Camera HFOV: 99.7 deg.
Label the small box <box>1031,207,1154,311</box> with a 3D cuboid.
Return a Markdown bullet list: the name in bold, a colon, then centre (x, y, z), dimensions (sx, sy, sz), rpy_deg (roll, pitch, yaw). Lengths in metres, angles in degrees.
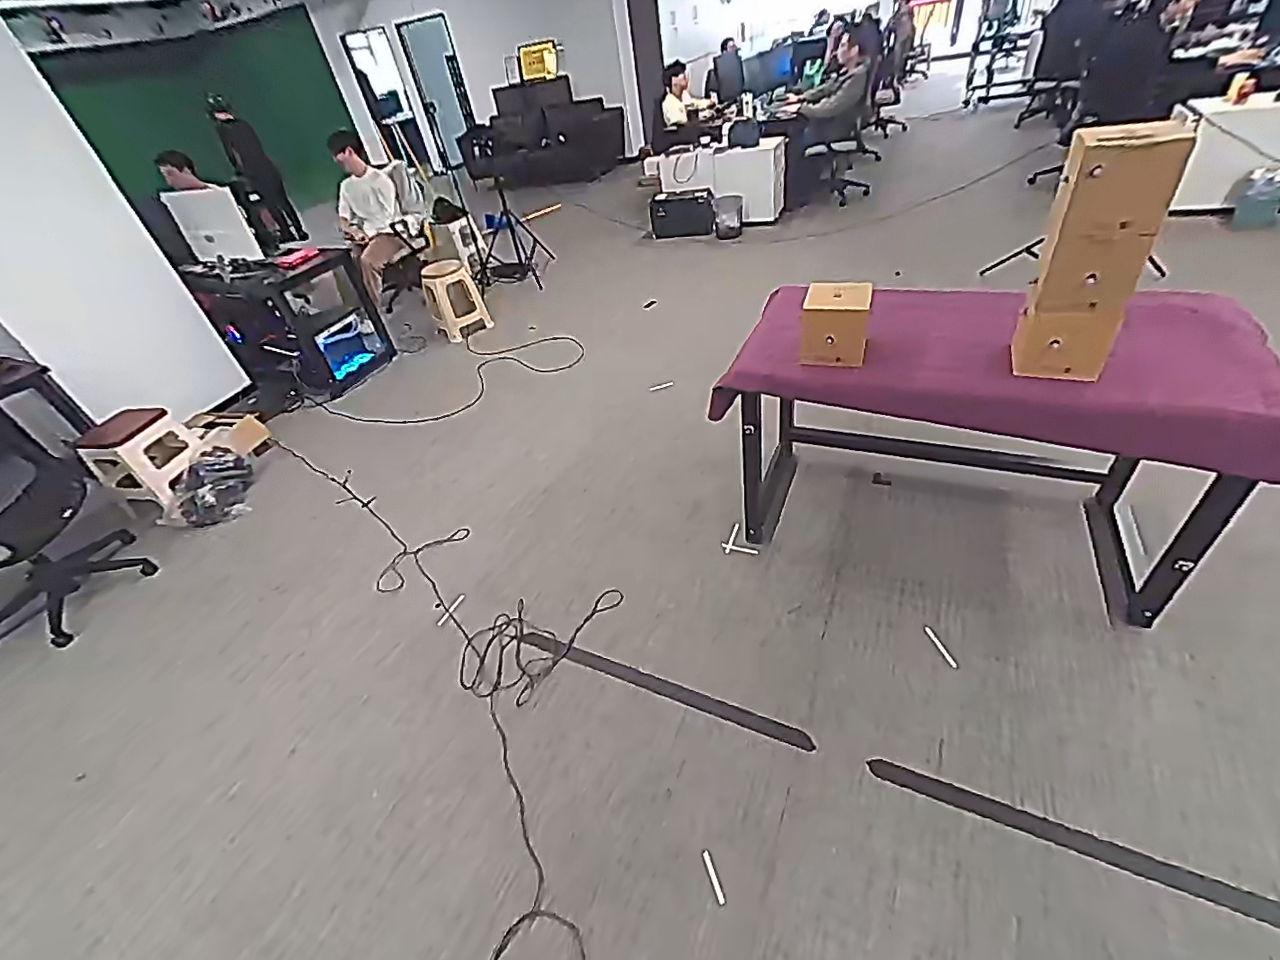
- **small box**: centre (0.995, -0.489, 1.205), dimensions (0.168, 0.176, 0.179), rpy_deg (11, 45, 25)

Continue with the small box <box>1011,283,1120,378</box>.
- **small box**: centre (1.017, -0.362, 1.307), dimensions (0.168, 0.176, 0.179), rpy_deg (10, 44, 24)

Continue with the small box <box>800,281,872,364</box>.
- **small box**: centre (0.540, -0.436, 1.498), dimensions (0.168, 0.176, 0.179), rpy_deg (8, 43, 21)
